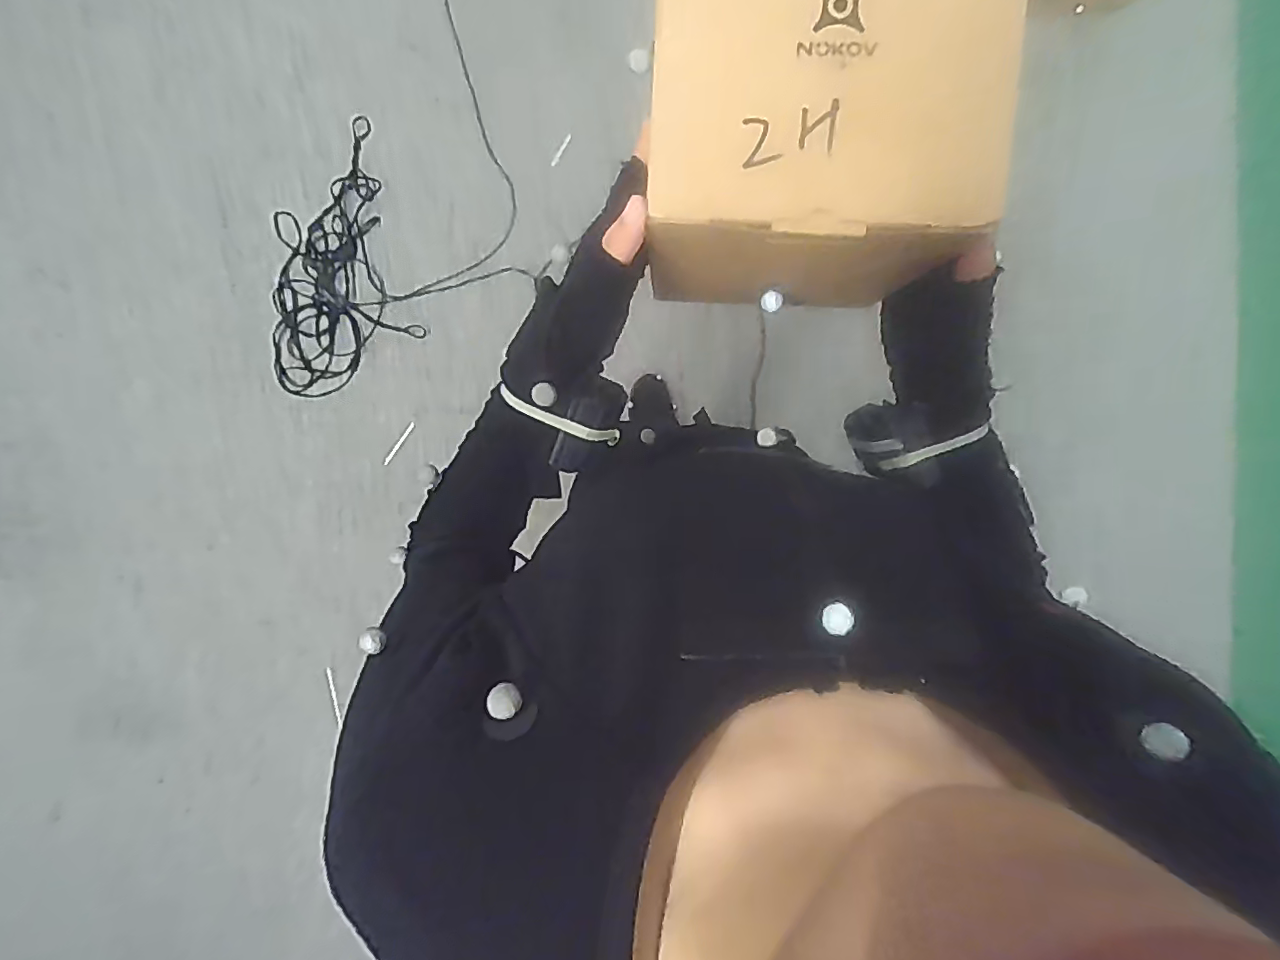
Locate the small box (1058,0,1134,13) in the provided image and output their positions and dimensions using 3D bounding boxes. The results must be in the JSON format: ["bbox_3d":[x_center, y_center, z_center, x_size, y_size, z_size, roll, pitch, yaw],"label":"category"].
[{"bbox_3d":[1.089,-1.207,1.226,0.168,0.176,0.179,-4,95,2],"label":"small box"}]
